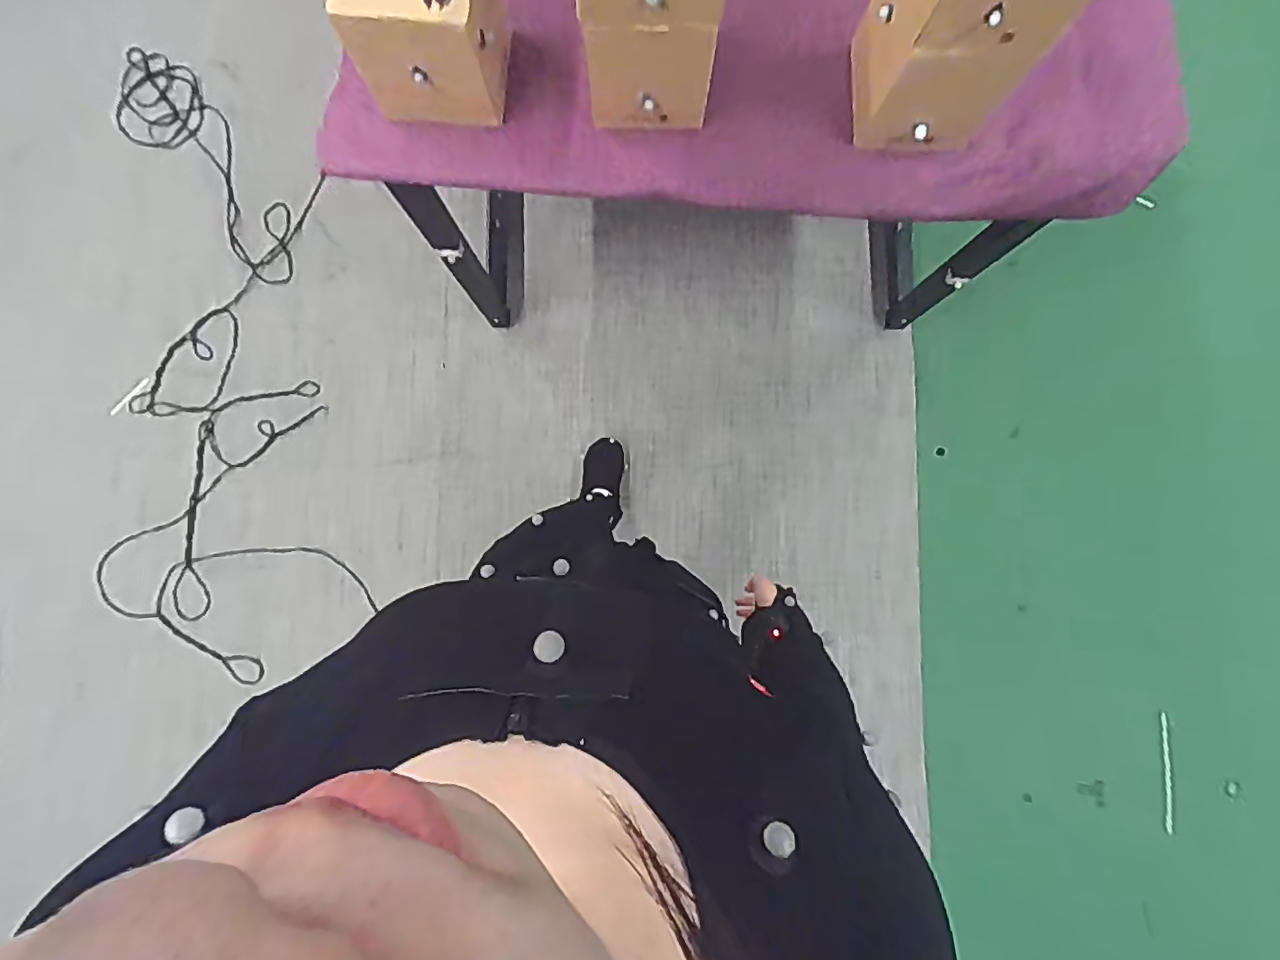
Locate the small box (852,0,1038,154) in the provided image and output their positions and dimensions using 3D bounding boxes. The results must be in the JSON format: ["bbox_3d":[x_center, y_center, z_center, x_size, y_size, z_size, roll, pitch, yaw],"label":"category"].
[{"bbox_3d":[0.405,-0.590,0.746,0.168,0.176,0.179,1,86,-1],"label":"small box"}]

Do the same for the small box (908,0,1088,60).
[{"bbox_3d":[0.409,-0.607,0.585,0.168,0.176,0.179,0,86,-1],"label":"small box"}]

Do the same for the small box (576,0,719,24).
[{"bbox_3d":[0.013,-0.635,0.577,0.179,0.176,0.168,-1,84,-2],"label":"small box"}]

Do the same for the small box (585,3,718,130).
[{"bbox_3d":[0.011,-0.622,0.741,0.168,0.176,0.179,-1,85,-1],"label":"small box"}]
